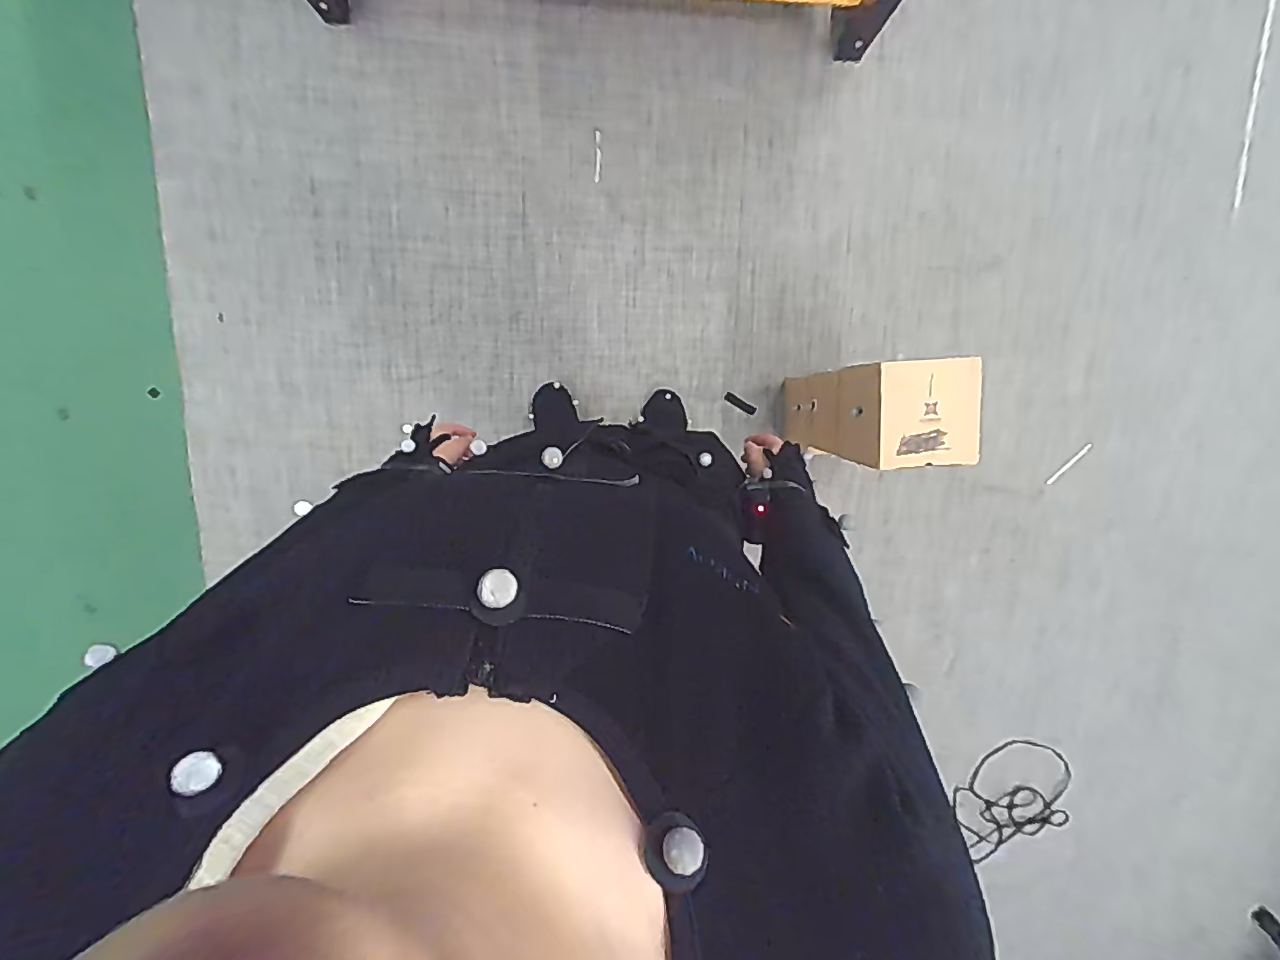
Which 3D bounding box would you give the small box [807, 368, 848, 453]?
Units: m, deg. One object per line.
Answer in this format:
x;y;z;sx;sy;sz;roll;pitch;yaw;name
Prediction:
0.457;-0.149;1.108;0.179;0.176;0.168;-4;99;0;small box

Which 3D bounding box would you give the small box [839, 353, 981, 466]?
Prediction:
0.460;-0.125;0.945;0.168;0.176;0.179;-4;98;-1;small box

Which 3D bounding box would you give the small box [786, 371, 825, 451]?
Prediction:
0.447;-0.167;1.270;0.168;0.176;0.179;-4;100;-1;small box
